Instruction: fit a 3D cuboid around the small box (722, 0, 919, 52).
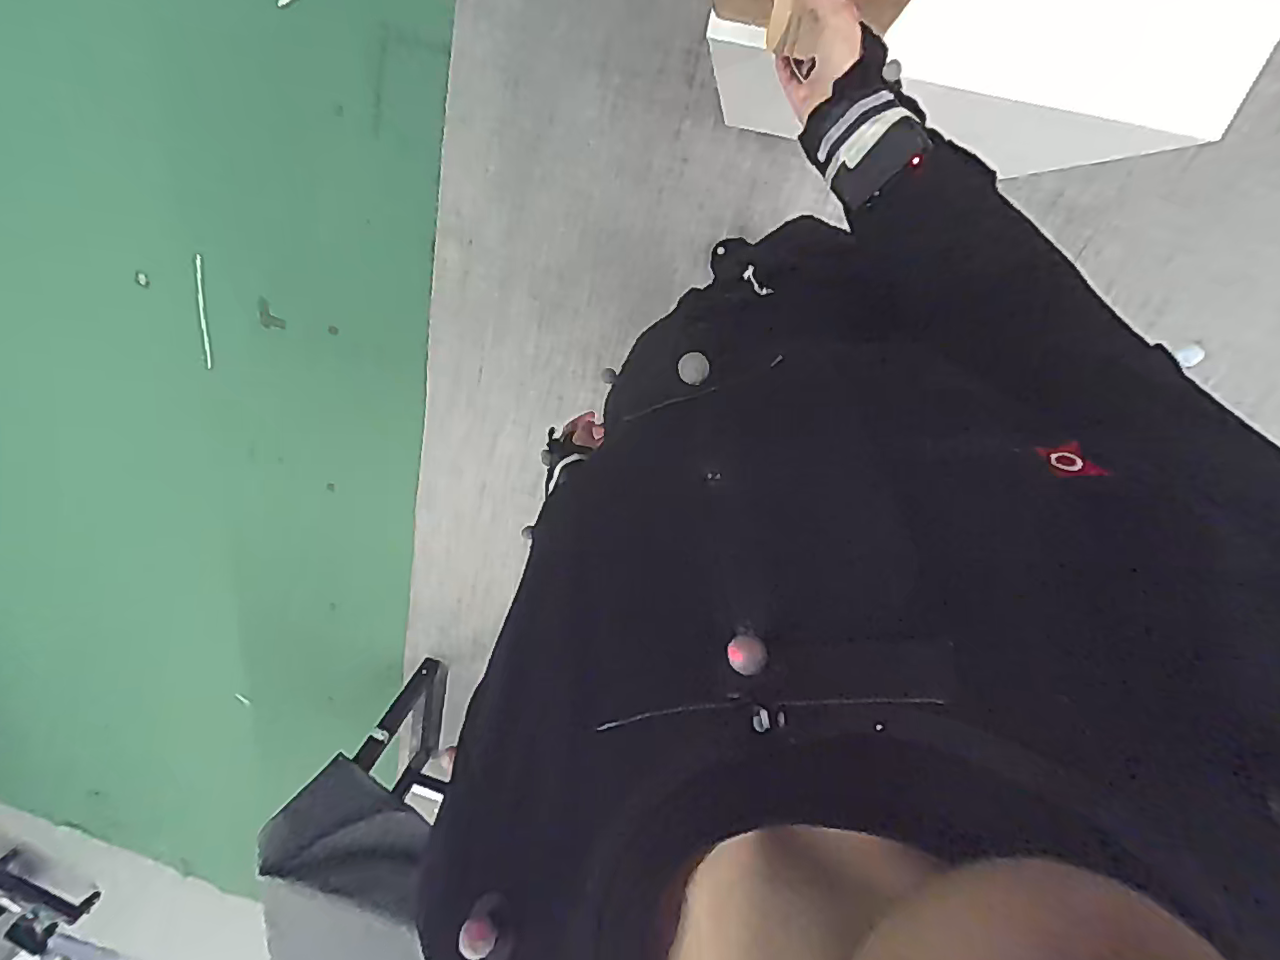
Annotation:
[{"bbox_3d":[0.159,-0.481,0.427,0.168,0.176,0.179,15,117,4],"label":"small box"}]
